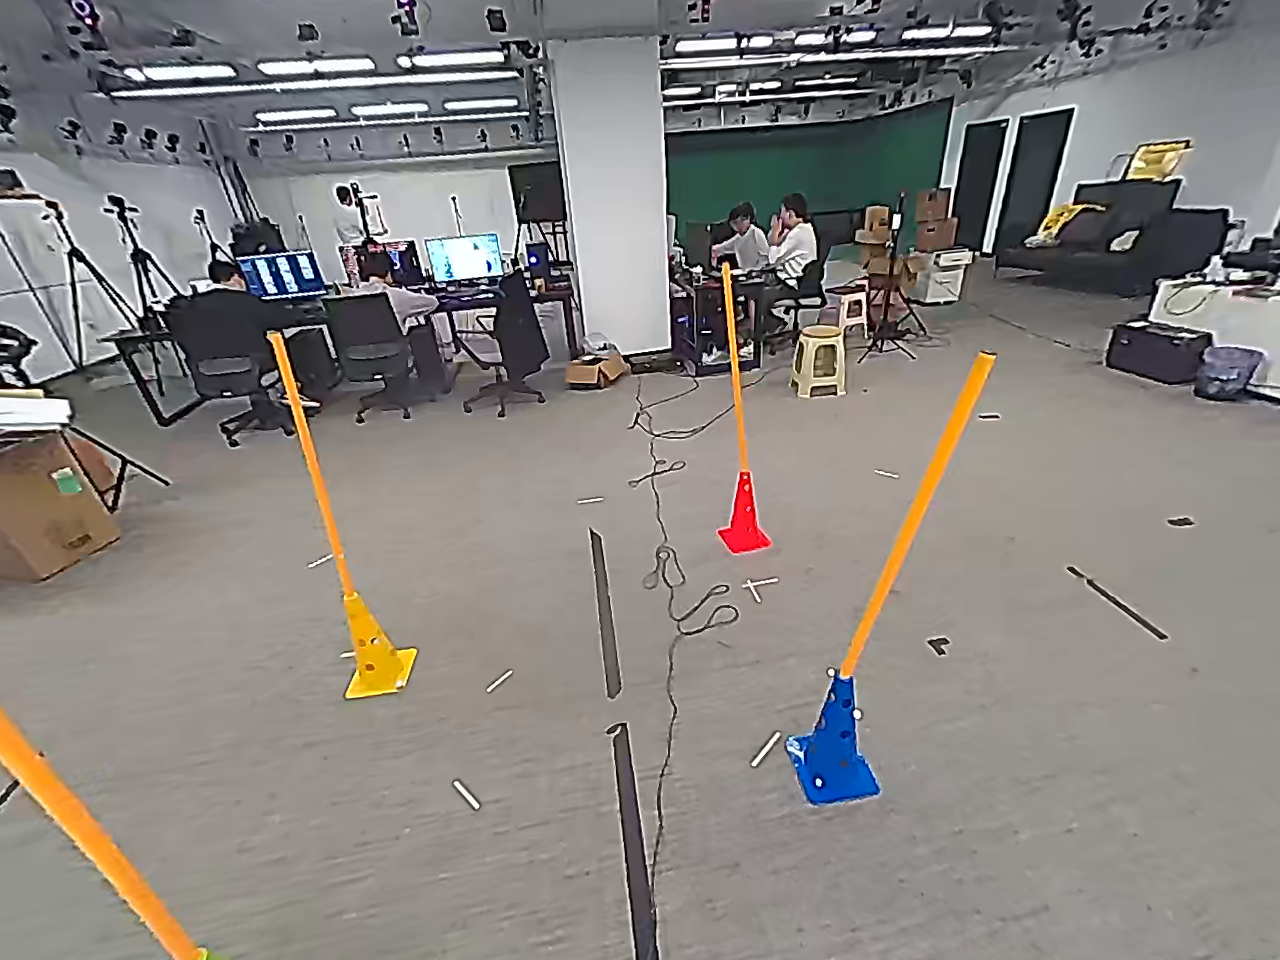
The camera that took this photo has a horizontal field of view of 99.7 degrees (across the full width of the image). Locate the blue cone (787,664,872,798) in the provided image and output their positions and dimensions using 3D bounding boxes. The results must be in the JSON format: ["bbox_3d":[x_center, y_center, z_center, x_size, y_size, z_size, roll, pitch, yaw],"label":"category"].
[{"bbox_3d":[0.514,0.644,1.432,0.193,0.380,0.192,-7,27,-3],"label":"blue cone"}]

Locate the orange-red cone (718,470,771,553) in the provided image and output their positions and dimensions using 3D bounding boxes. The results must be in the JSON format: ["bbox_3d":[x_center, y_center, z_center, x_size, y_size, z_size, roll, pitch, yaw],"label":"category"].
[{"bbox_3d":[0.464,0.121,2.410,0.199,0.360,0.198,-12,28,-9],"label":"orange-red cone"}]
